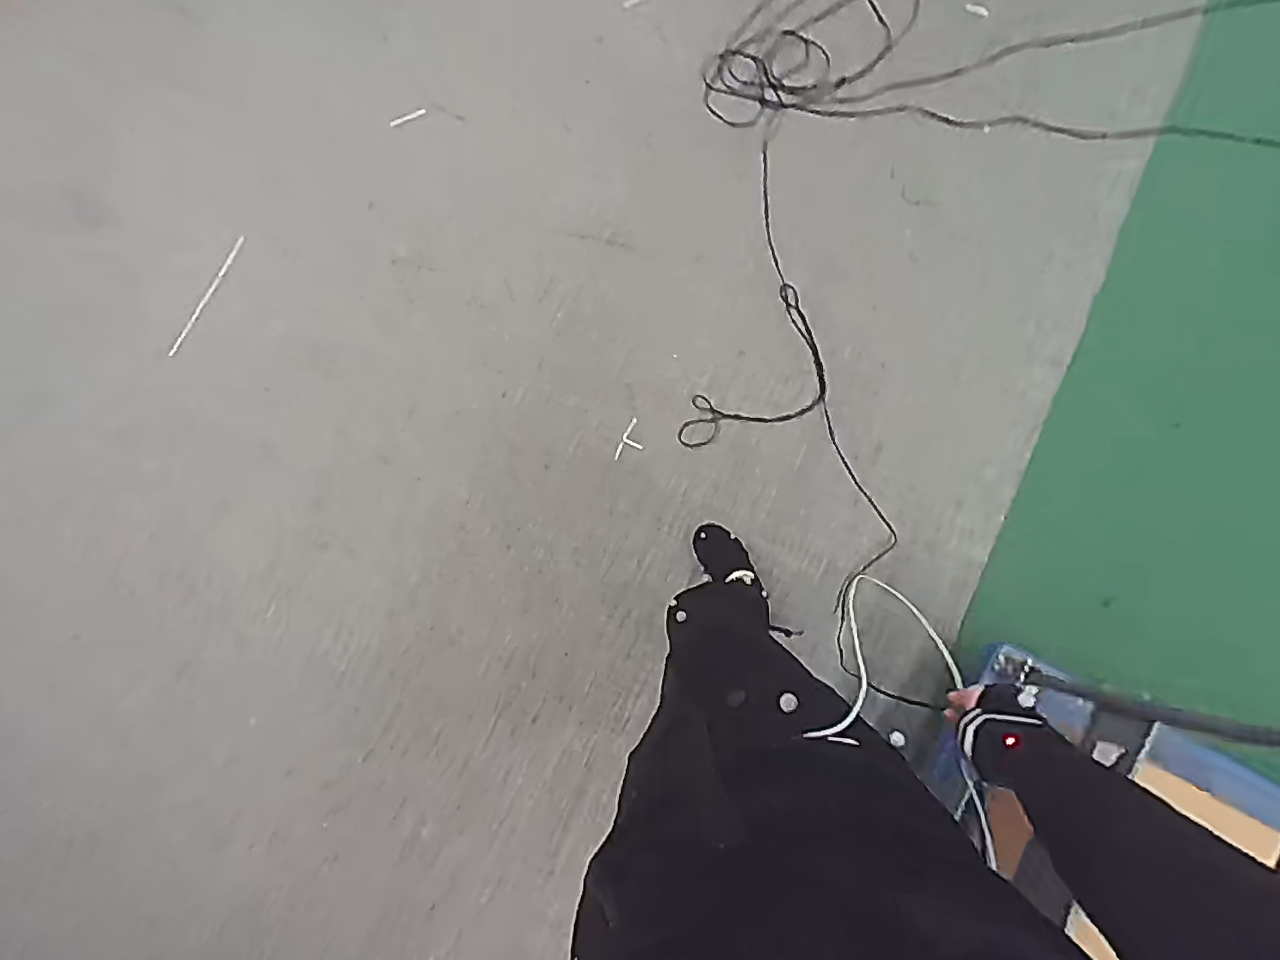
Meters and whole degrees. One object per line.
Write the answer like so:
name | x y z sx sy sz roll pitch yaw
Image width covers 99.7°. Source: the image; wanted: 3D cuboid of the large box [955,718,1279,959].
large box | 0.871 0.690 0.950 0.408 0.320 0.320 30 84 10
